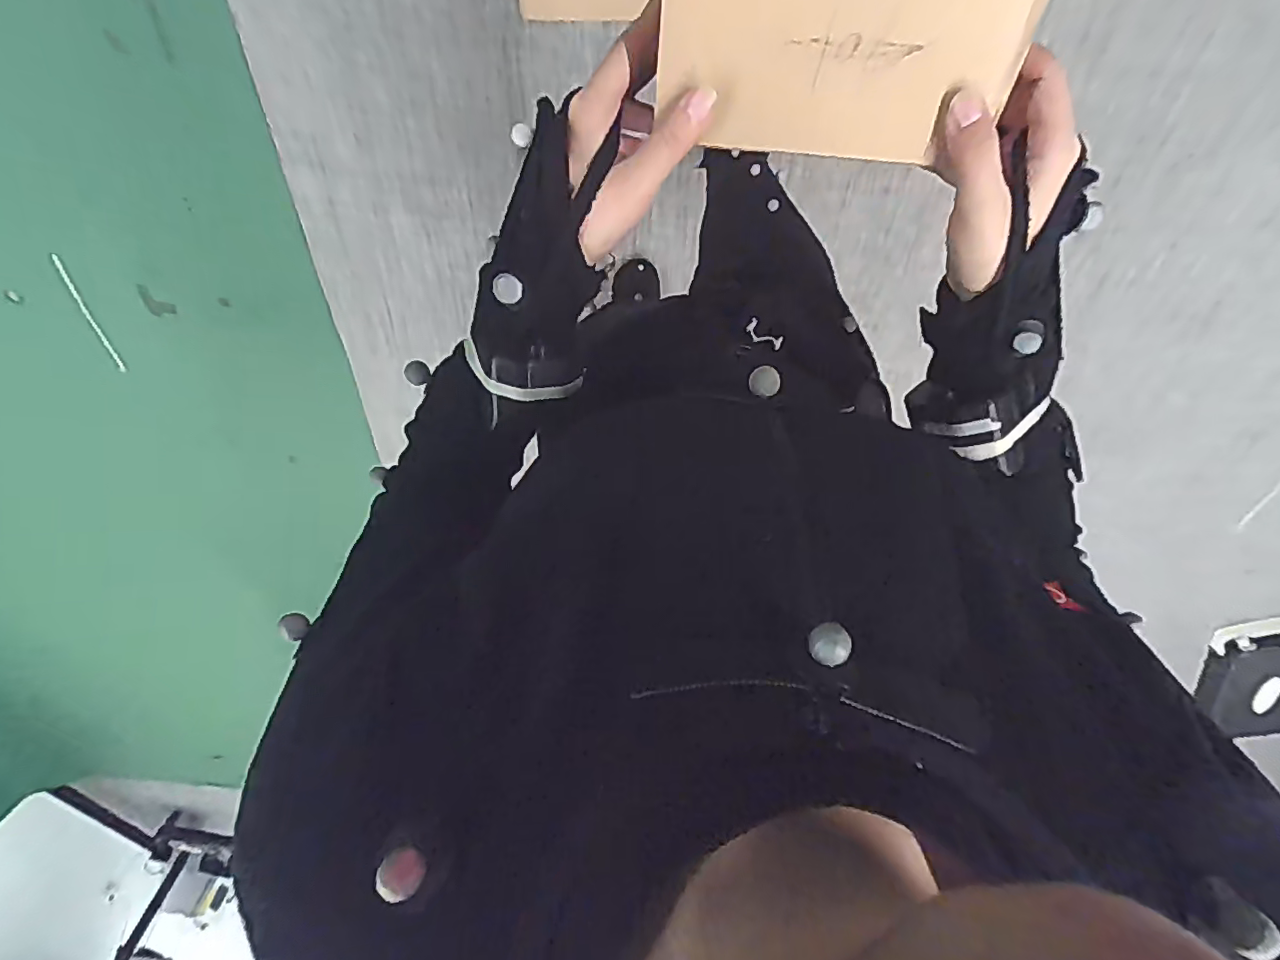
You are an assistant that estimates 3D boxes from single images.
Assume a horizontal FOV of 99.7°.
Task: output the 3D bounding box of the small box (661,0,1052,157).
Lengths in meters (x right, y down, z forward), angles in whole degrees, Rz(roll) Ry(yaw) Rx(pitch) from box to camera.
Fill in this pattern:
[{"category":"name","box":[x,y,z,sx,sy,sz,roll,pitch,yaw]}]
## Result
[{"category":"small box","box":[0.102,-0.287,0.271,0.168,0.176,0.179,6,134,2]}]
